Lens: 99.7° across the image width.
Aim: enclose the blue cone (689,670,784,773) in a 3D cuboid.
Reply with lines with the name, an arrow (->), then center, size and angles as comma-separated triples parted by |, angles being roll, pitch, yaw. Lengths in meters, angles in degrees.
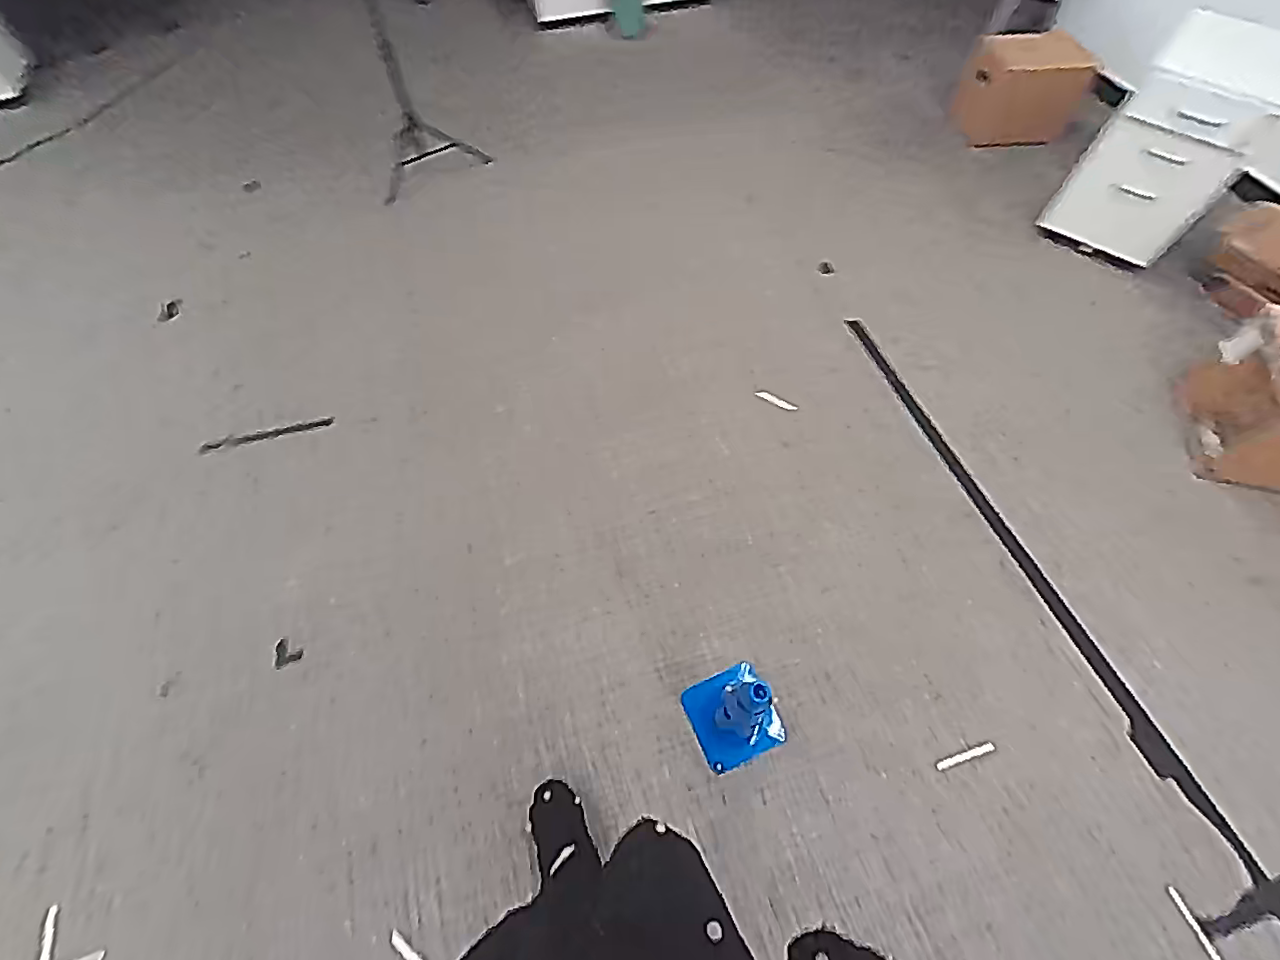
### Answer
blue cone -> 0.229, 0.487, 1.151 | 0.193, 0.380, 0.192 | -20, 62, -11
